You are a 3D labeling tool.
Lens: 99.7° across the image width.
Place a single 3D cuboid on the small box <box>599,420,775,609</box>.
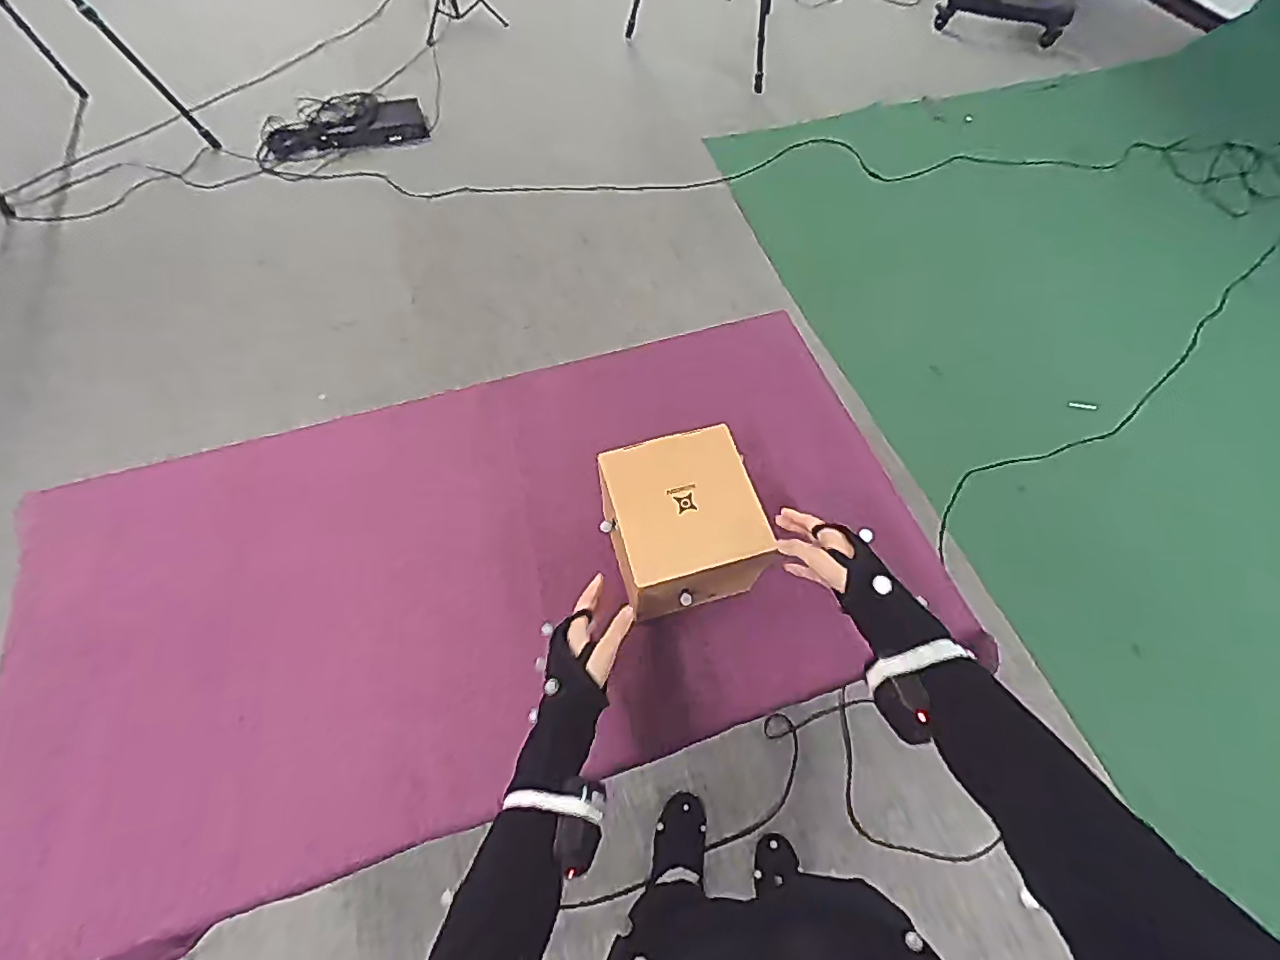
[{"bbox_3d":[0.052,0.054,0.698,0.168,0.176,0.179,-15,63,-8],"label":"small box"}]
